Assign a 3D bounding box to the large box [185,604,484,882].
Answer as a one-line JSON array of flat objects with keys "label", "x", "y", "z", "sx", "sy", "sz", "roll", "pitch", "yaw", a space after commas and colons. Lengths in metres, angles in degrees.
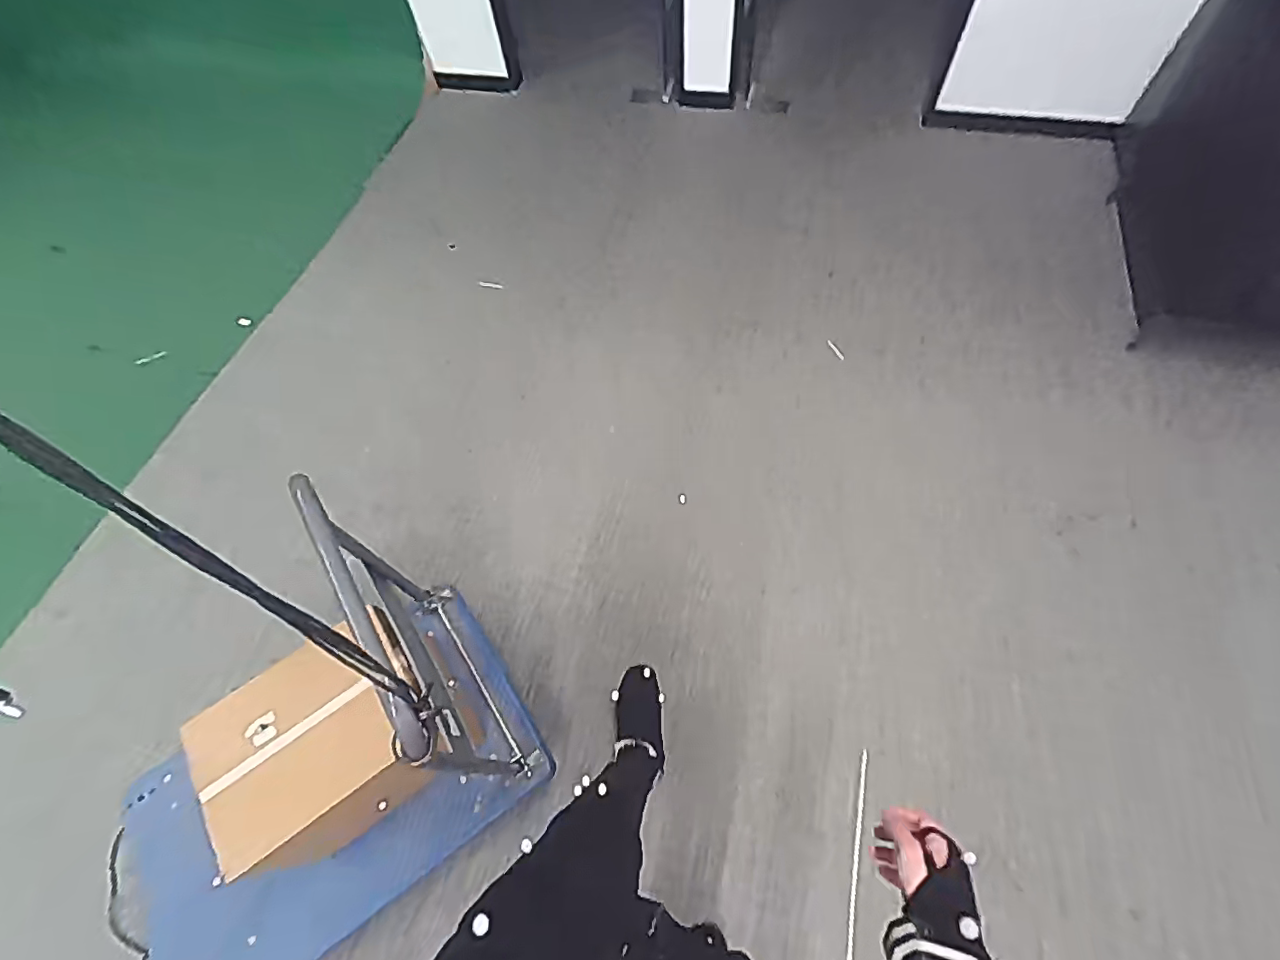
[{"label": "large box", "x": -0.620, "y": 0.538, "z": 1.157, "sx": 0.408, "sy": 0.320, "sz": 0.320, "roll": -35, "pitch": 64, "yaw": -13}]
